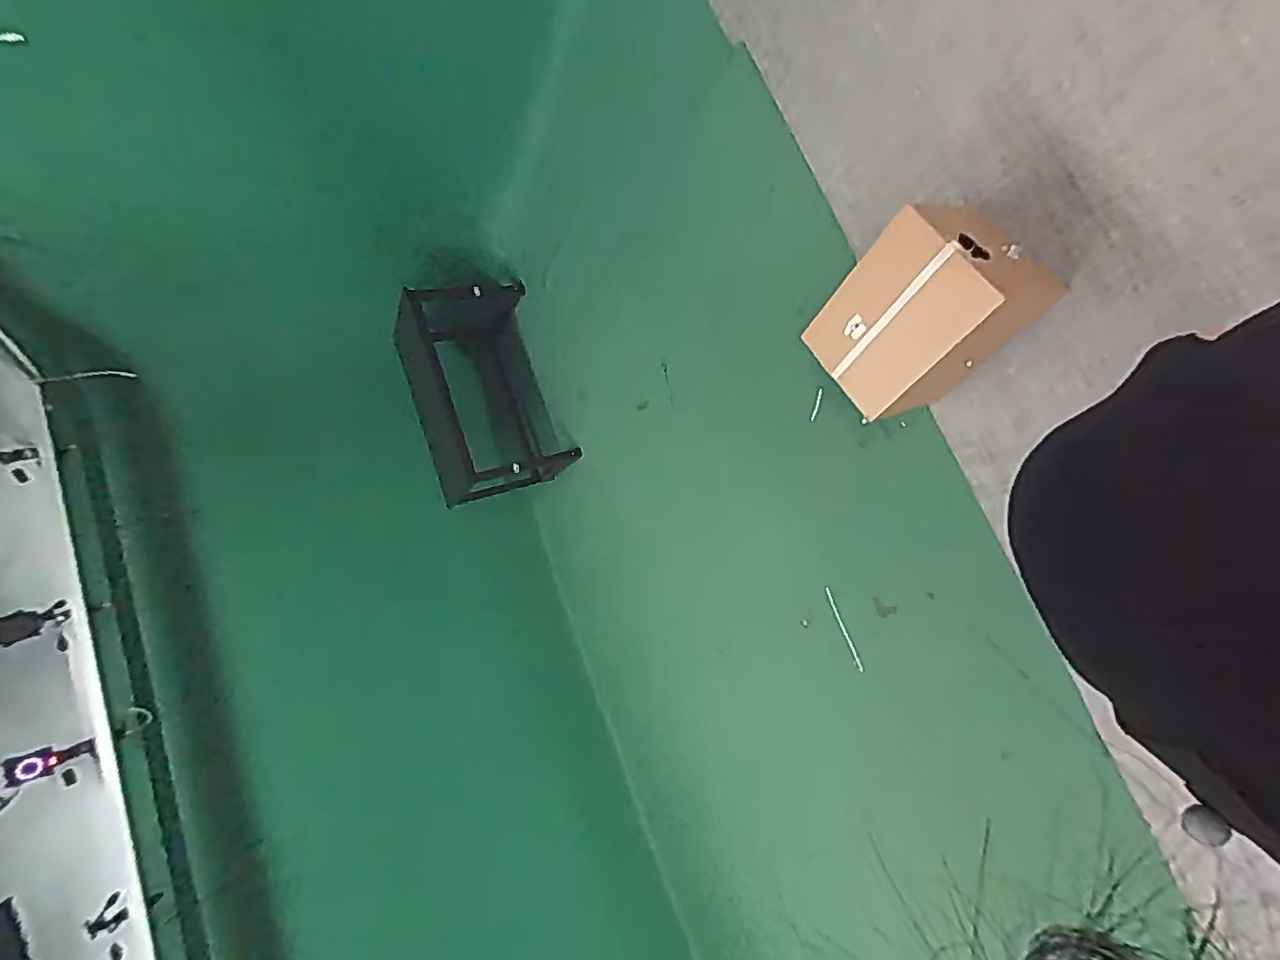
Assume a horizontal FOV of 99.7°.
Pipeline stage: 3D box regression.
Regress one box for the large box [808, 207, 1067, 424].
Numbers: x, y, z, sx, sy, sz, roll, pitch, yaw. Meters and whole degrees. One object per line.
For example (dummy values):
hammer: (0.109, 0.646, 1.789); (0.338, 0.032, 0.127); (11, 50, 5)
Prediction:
large box: (0.715, -0.405, 1.347); (0.320, 0.320, 0.408); (61, 146, 22)
